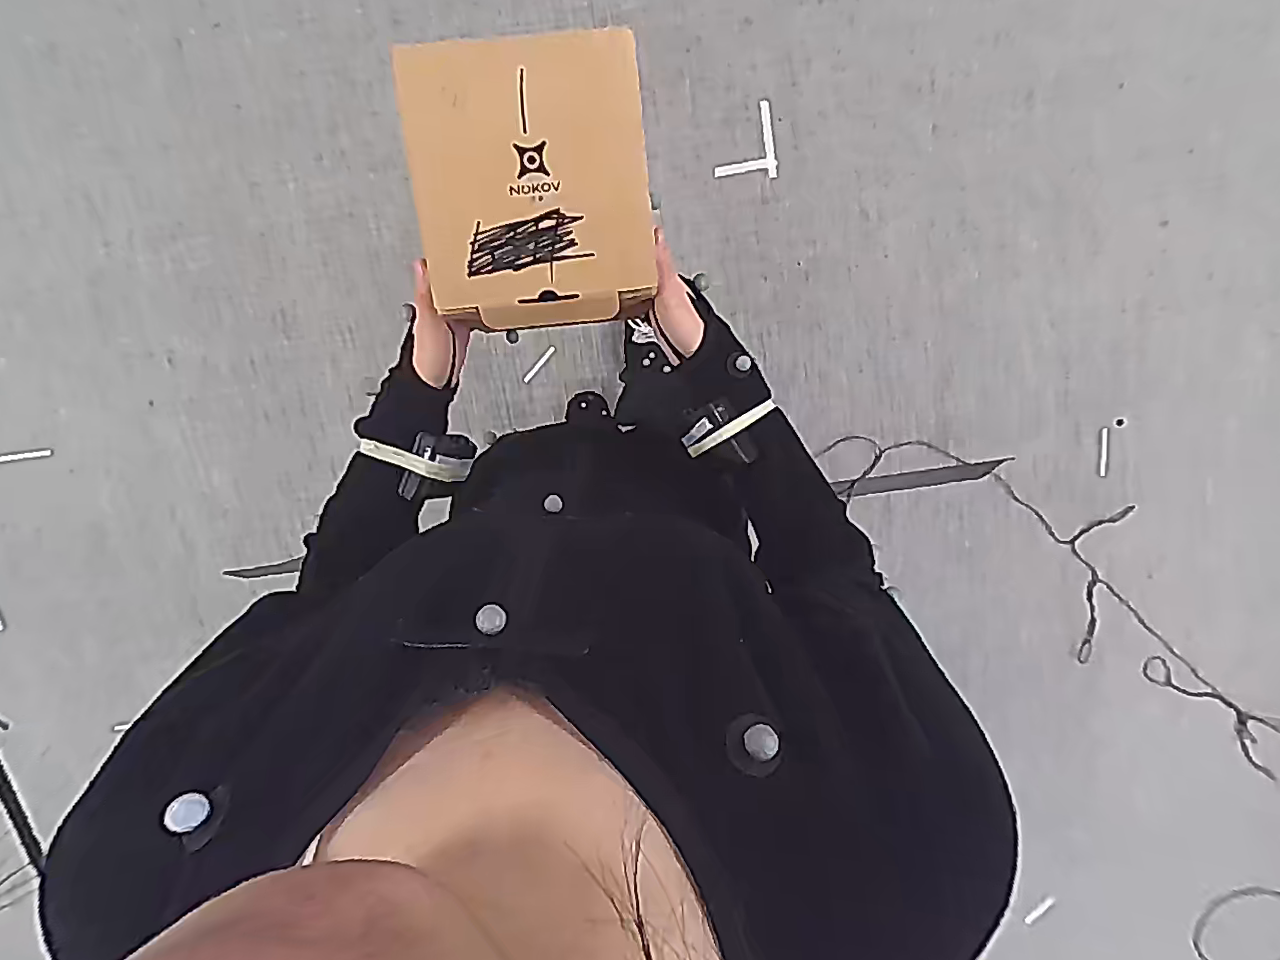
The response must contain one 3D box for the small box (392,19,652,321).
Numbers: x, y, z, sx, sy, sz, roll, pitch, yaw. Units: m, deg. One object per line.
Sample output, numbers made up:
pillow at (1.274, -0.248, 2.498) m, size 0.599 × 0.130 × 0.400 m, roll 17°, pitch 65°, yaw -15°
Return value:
small box at (-0.082, -0.234, 0.457) m, size 0.168 × 0.176 × 0.179 m, roll -6°, pitch 100°, yaw -3°
